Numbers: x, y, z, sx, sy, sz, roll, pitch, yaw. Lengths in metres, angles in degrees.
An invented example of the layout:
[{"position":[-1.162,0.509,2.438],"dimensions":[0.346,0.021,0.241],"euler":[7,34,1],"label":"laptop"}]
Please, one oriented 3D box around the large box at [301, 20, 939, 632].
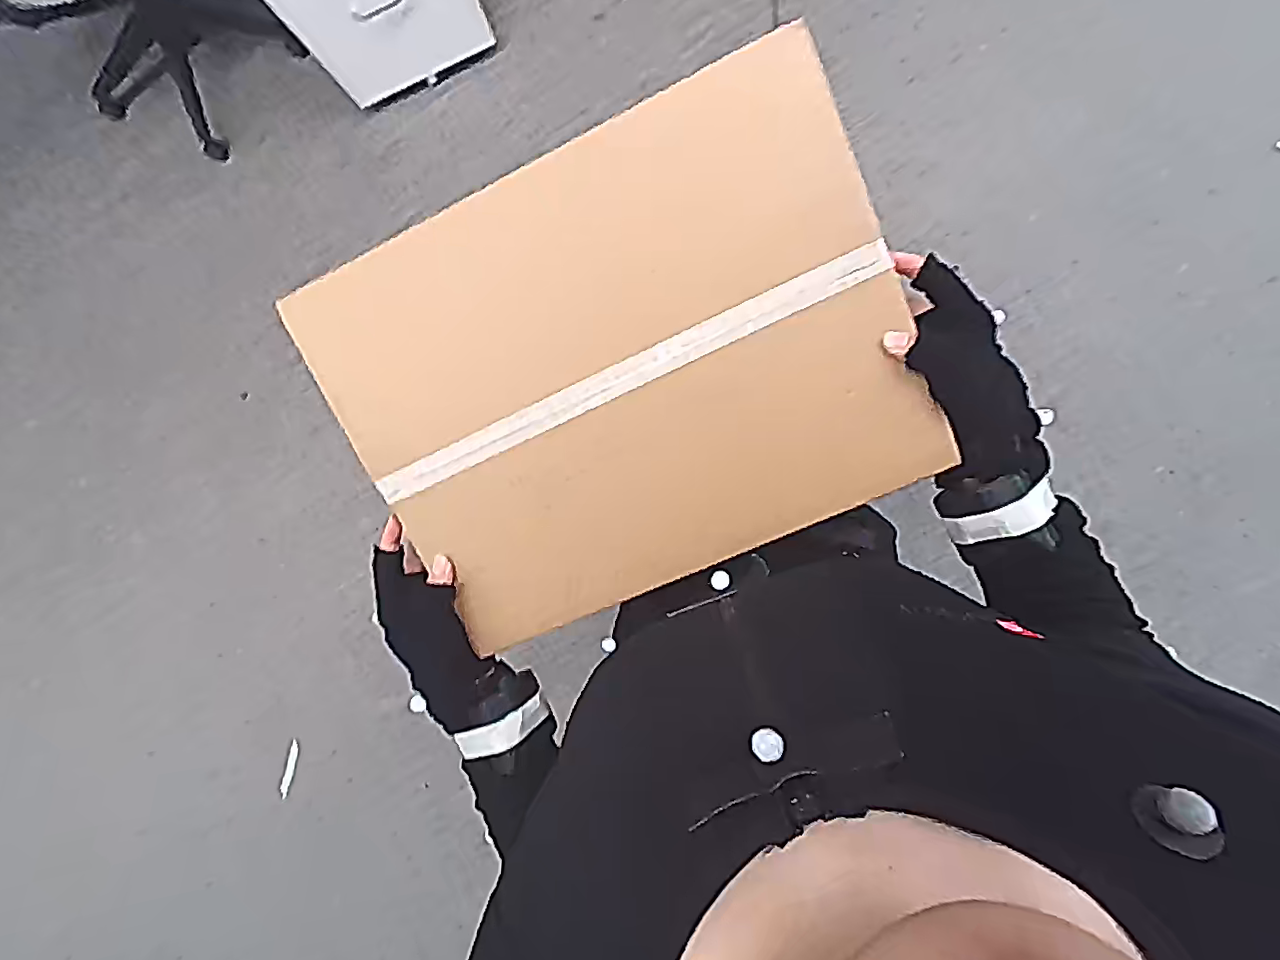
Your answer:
[{"position":[-0.010,-0.115,0.548],"dimensions":[0.408,0.320,0.320],"euler":[-24,102,8],"label":"large box"}]
